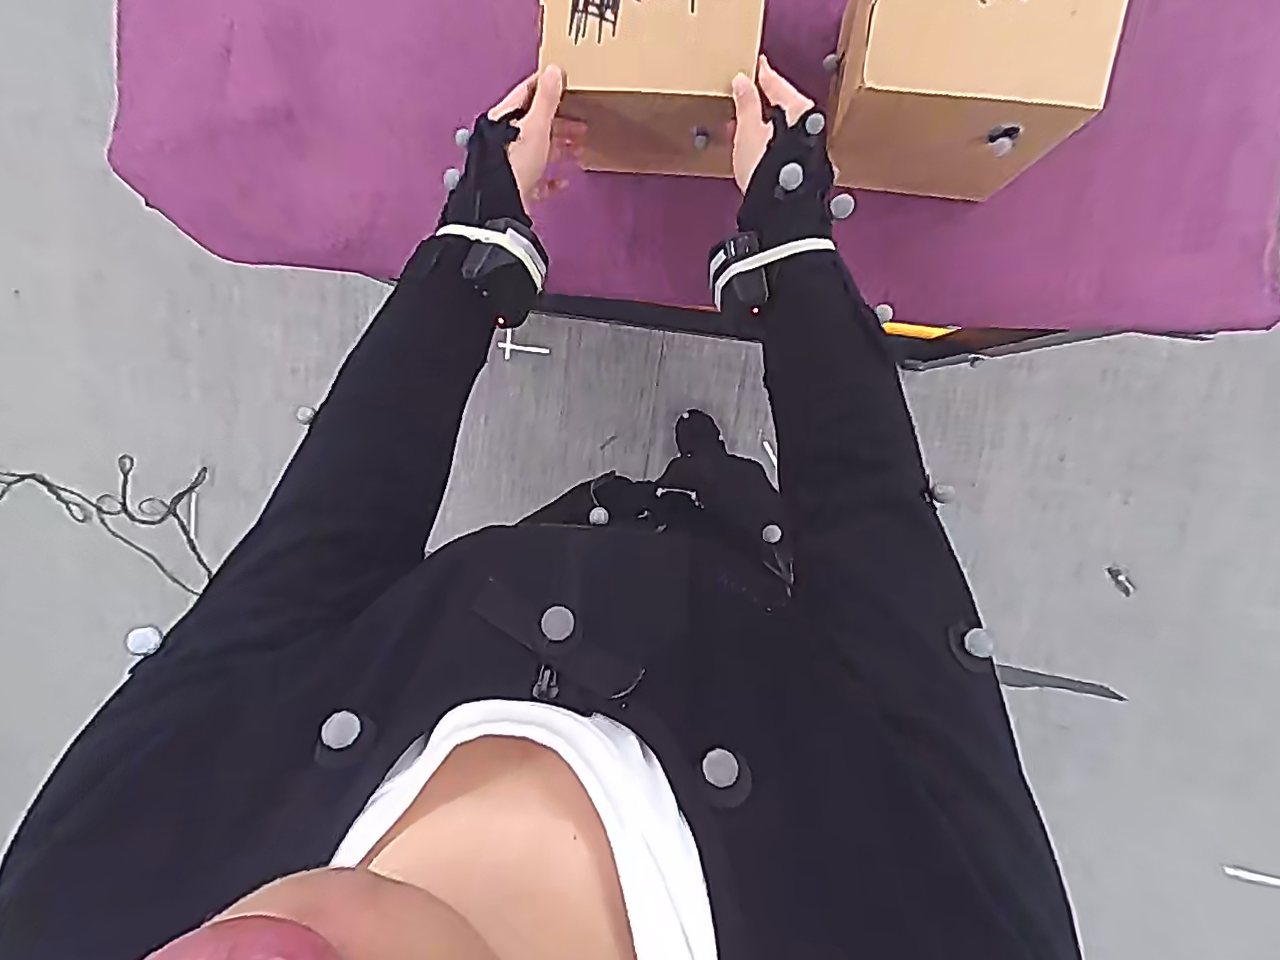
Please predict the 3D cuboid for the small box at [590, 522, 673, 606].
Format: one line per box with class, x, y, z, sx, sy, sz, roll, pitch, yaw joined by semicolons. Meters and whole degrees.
small box;-0.023;0.194;1.291;0.179;0.176;0.168;9;89;0
